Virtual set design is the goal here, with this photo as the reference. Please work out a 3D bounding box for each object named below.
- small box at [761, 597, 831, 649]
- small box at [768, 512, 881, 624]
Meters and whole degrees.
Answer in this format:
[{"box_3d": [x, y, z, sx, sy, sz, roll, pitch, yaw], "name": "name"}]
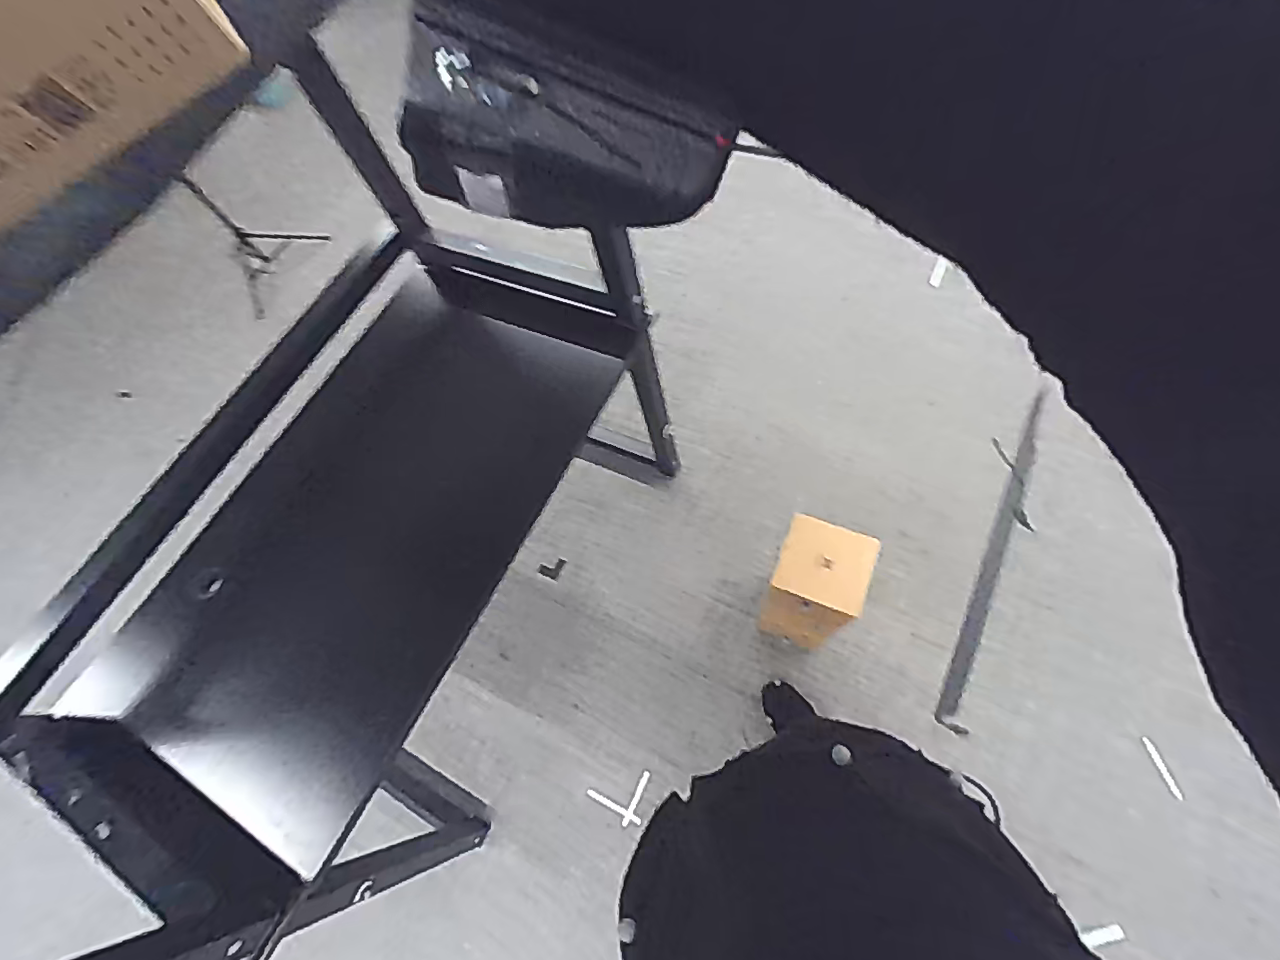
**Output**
[{"box_3d": [0.425, 0.327, 1.433, 0.168, 0.176, 0.179, 20, 71, 18], "name": "small box"}, {"box_3d": [0.379, 0.192, 1.139, 0.179, 0.176, 0.168, 18, 70, 17], "name": "small box"}]
